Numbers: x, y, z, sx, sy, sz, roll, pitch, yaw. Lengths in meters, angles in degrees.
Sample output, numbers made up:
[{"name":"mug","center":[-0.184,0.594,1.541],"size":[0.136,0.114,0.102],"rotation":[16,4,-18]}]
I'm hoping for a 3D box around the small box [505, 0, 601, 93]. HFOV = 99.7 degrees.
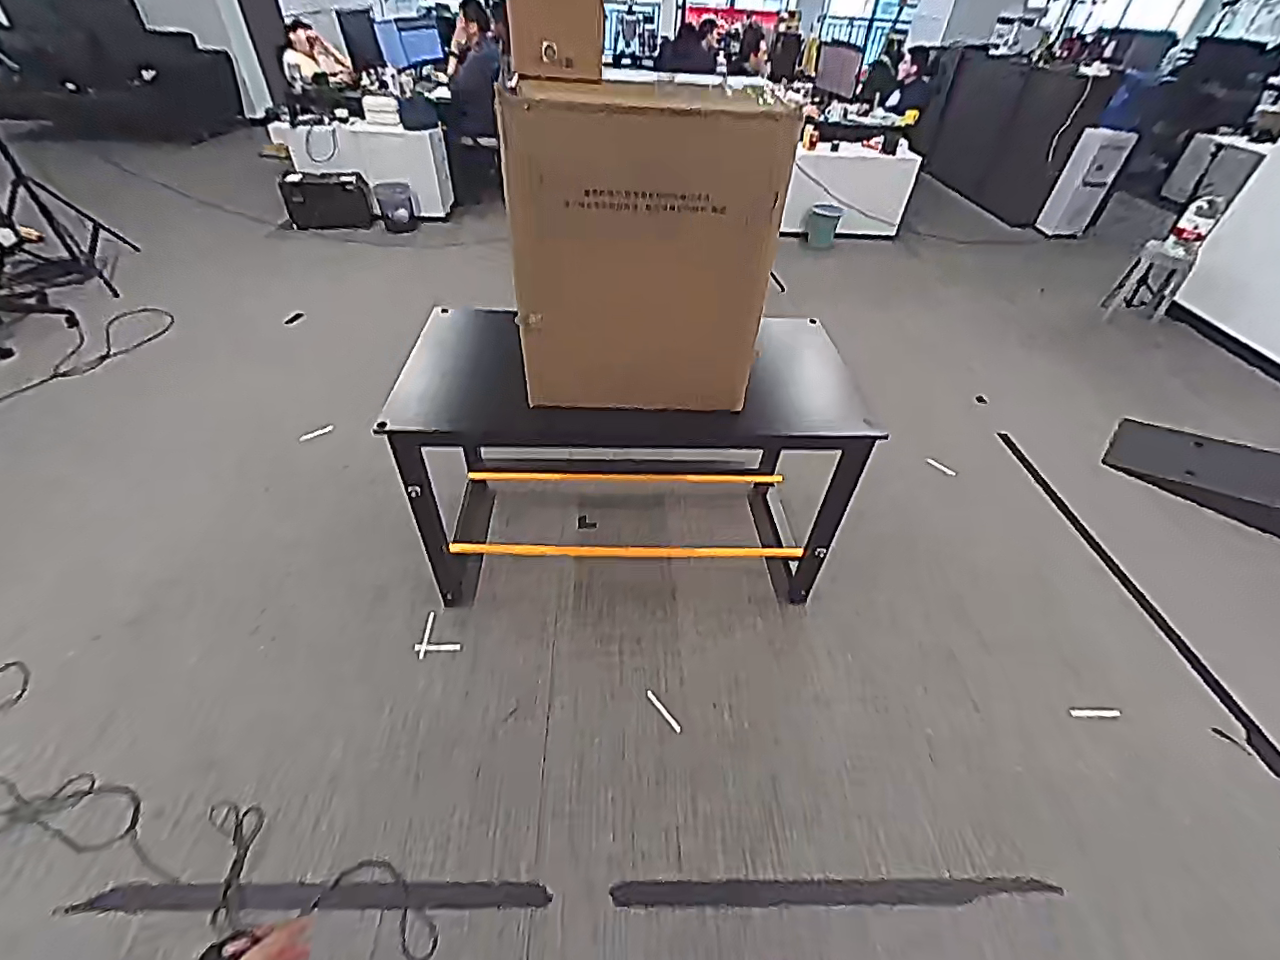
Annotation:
[{"name":"small box","center":[-0.159,-0.840,1.009],"size":[0.168,0.176,0.179],"rotation":[-3,42,-6]}]
